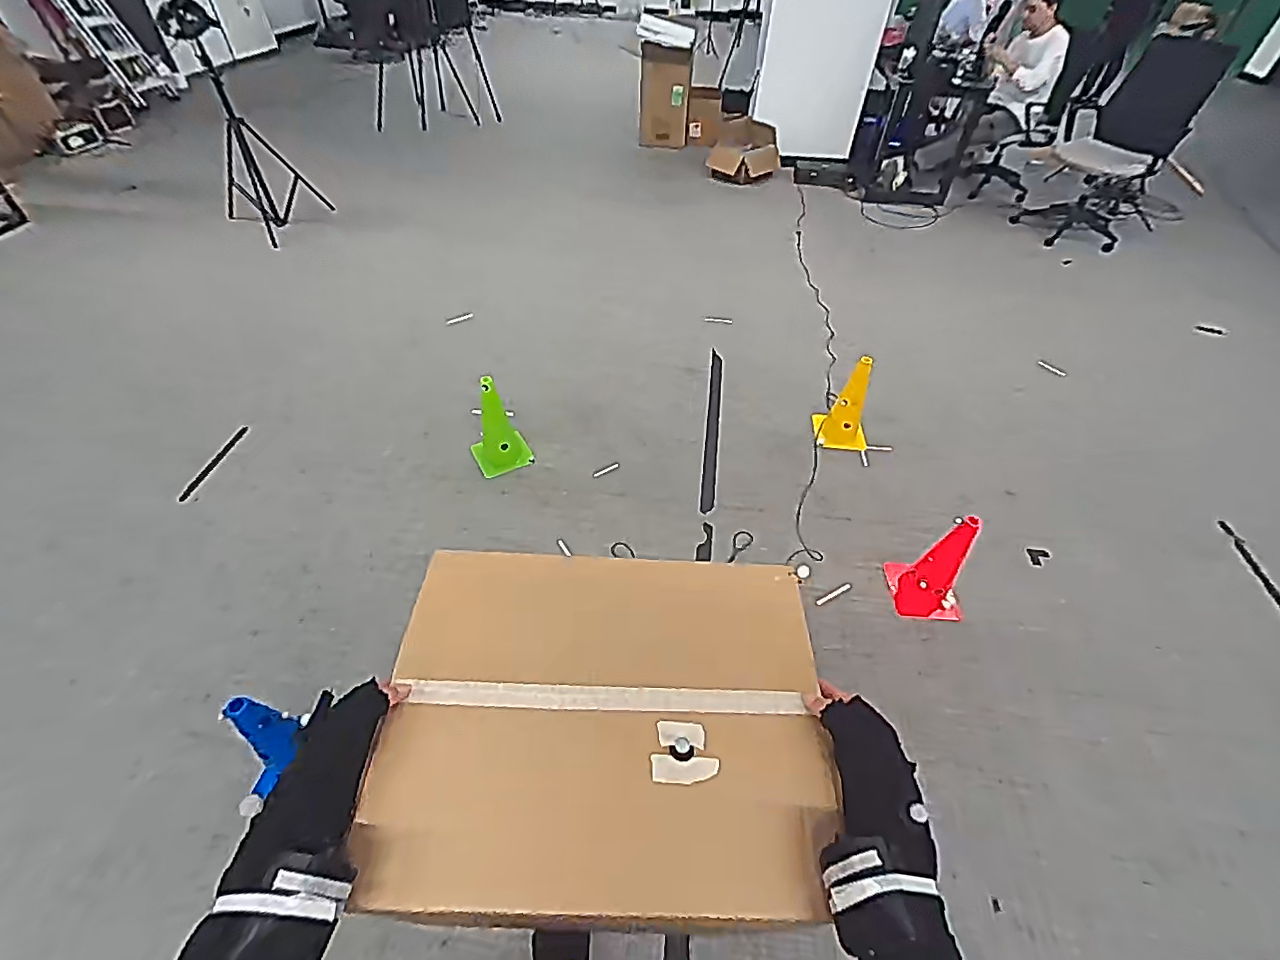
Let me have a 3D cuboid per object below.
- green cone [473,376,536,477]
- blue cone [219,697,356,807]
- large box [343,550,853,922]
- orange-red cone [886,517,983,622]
[{"bbox_3d":[-0.522,-0.222,1.958,0.202,0.368,0.200,-23,51,-20],"label":"green cone"},{"bbox_3d":[-0.817,0.580,1.216,0.192,0.380,0.193,8,47,7],"label":"blue cone"},{"bbox_3d":[-0.038,0.301,0.623,0.408,0.320,0.320,3,49,-2],"label":"large box"},{"bbox_3d":[0.899,0.234,1.588,0.198,0.360,0.199,5,45,1],"label":"orange-red cone"}]
